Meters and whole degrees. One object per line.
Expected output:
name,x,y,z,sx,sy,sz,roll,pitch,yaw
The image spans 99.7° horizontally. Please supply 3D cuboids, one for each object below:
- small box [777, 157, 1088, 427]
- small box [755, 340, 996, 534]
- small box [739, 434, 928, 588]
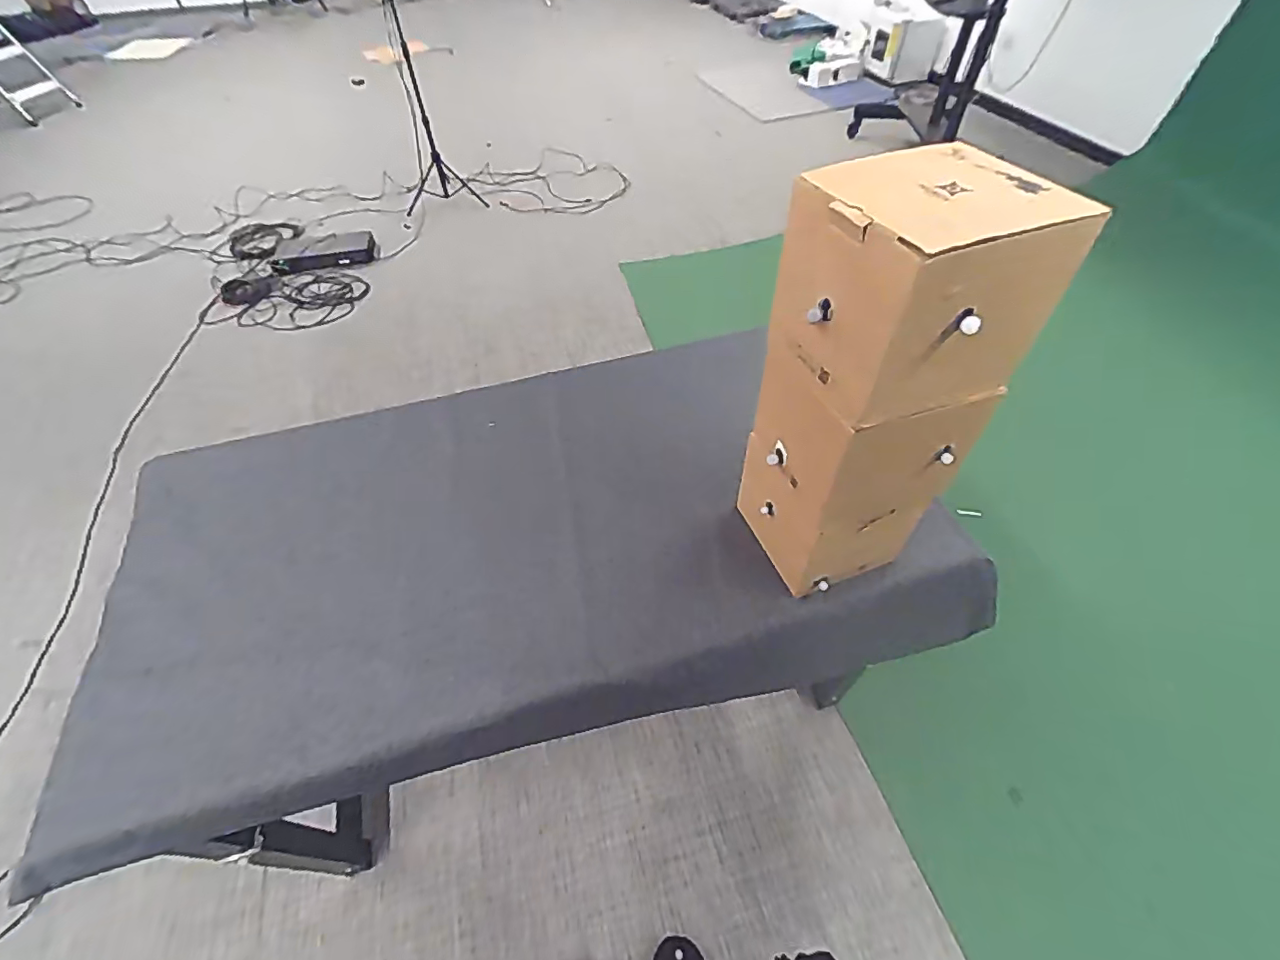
small box,0.244,-0.174,0.510,0.179,0.176,0.168,-17,51,-12
small box,0.253,-0.065,0.632,0.179,0.176,0.168,-17,50,-10
small box,0.255,0.031,0.762,0.168,0.176,0.179,-18,51,-12
